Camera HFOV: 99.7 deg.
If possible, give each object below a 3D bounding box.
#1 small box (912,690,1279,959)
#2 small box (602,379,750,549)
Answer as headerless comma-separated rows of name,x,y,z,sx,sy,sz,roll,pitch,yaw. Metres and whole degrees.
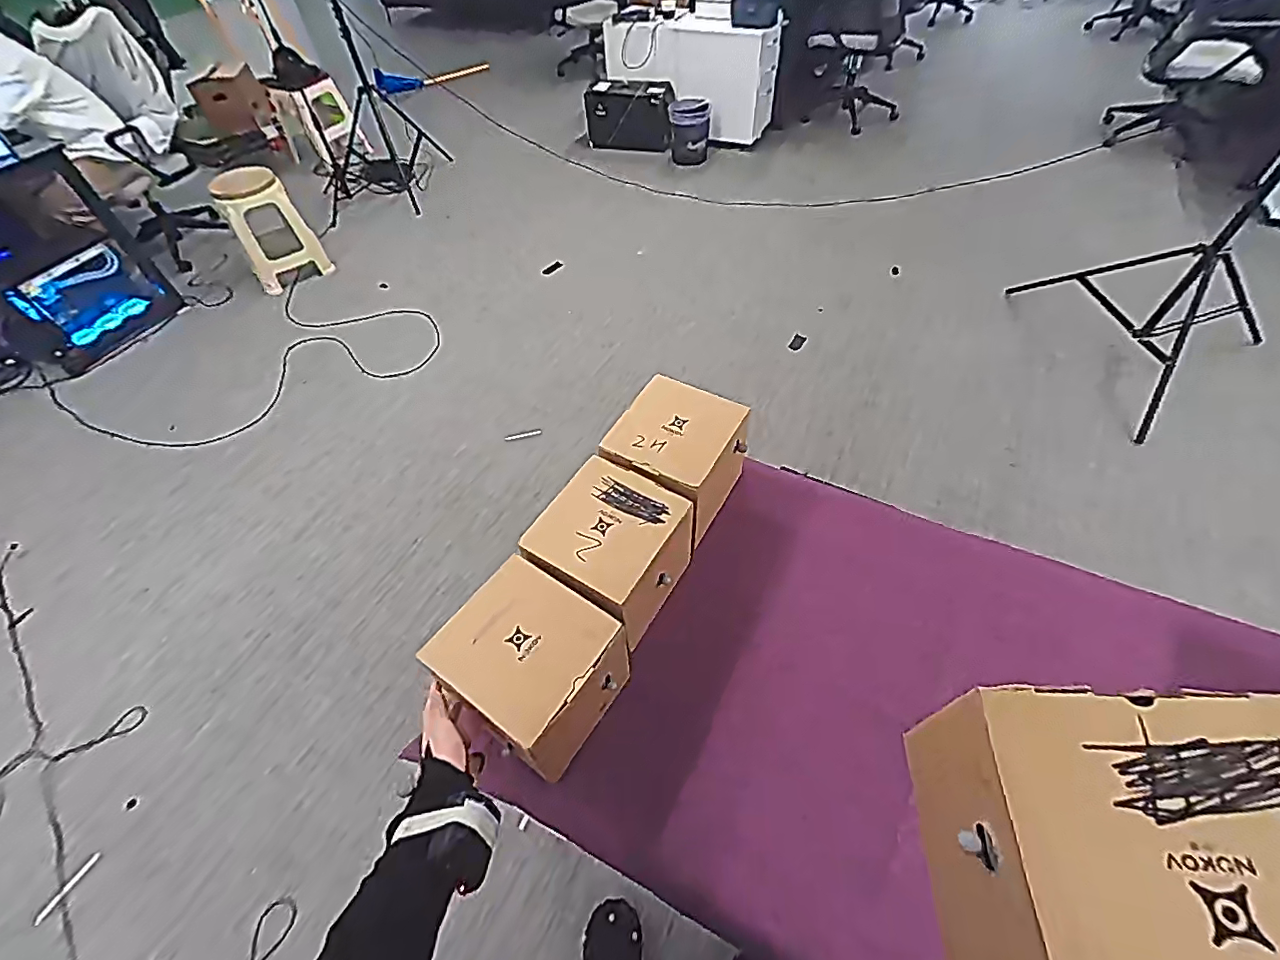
small box,0.279,0.236,0.317,0.168,0.176,0.179,-2,56,9
small box,0.058,-0.024,0.864,0.168,0.176,0.179,24,58,21
